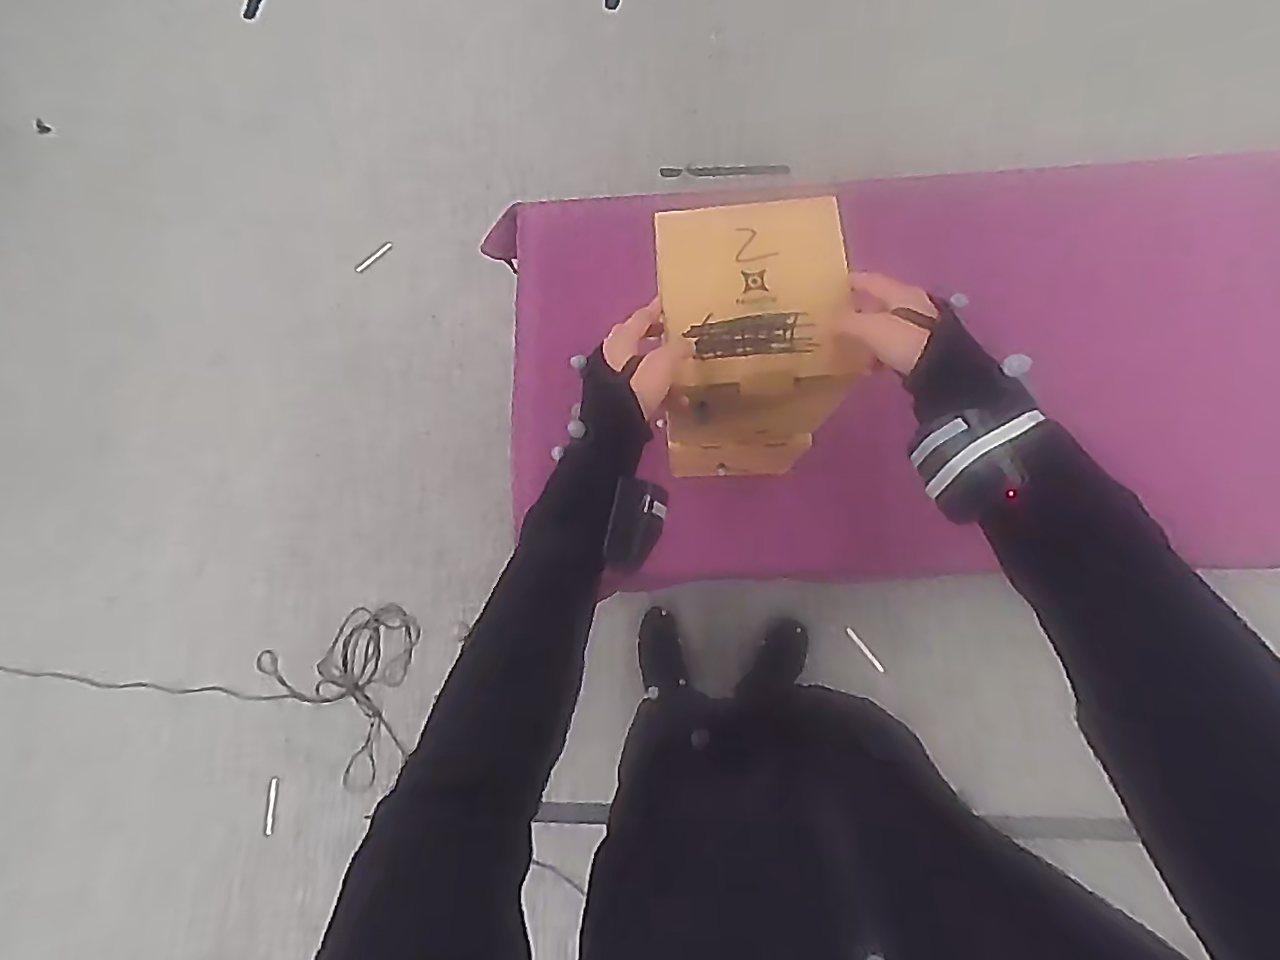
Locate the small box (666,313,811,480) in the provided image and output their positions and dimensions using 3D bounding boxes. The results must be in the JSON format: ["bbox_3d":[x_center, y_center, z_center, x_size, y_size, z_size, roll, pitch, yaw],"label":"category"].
[{"bbox_3d":[0.119,-0.102,0.721,0.168,0.176,0.179,-2,80,3],"label":"small box"}]
